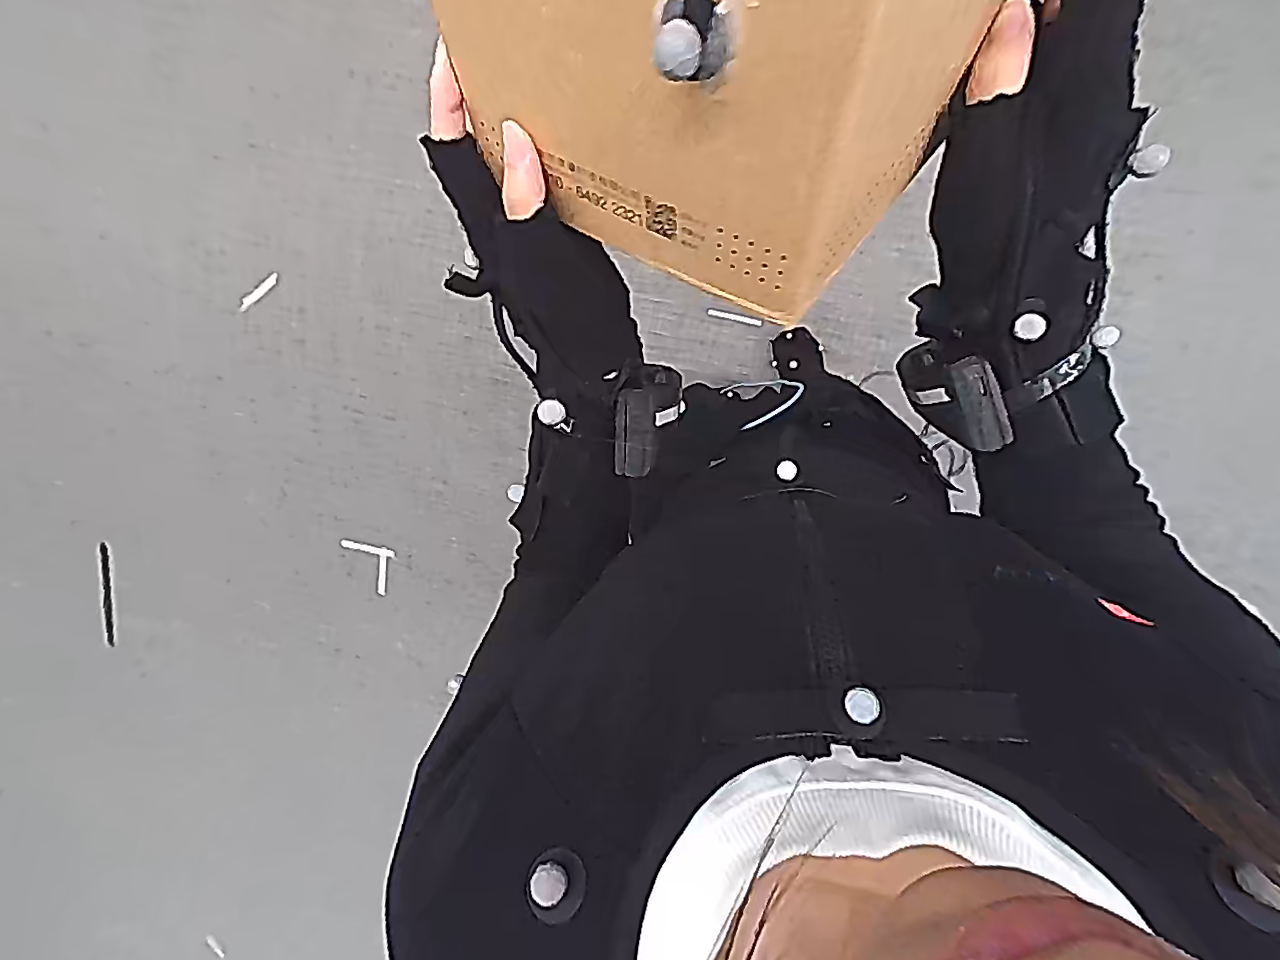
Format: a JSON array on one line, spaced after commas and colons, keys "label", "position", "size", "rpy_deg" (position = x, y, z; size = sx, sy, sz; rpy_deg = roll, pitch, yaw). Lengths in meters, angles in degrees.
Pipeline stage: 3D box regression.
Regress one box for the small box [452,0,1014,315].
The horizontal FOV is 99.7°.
[{"label": "small box", "position": [0.042, -0.195, 0.197], "size": [0.168, 0.176, 0.179], "rpy_deg": [32, 69, 18]}]
